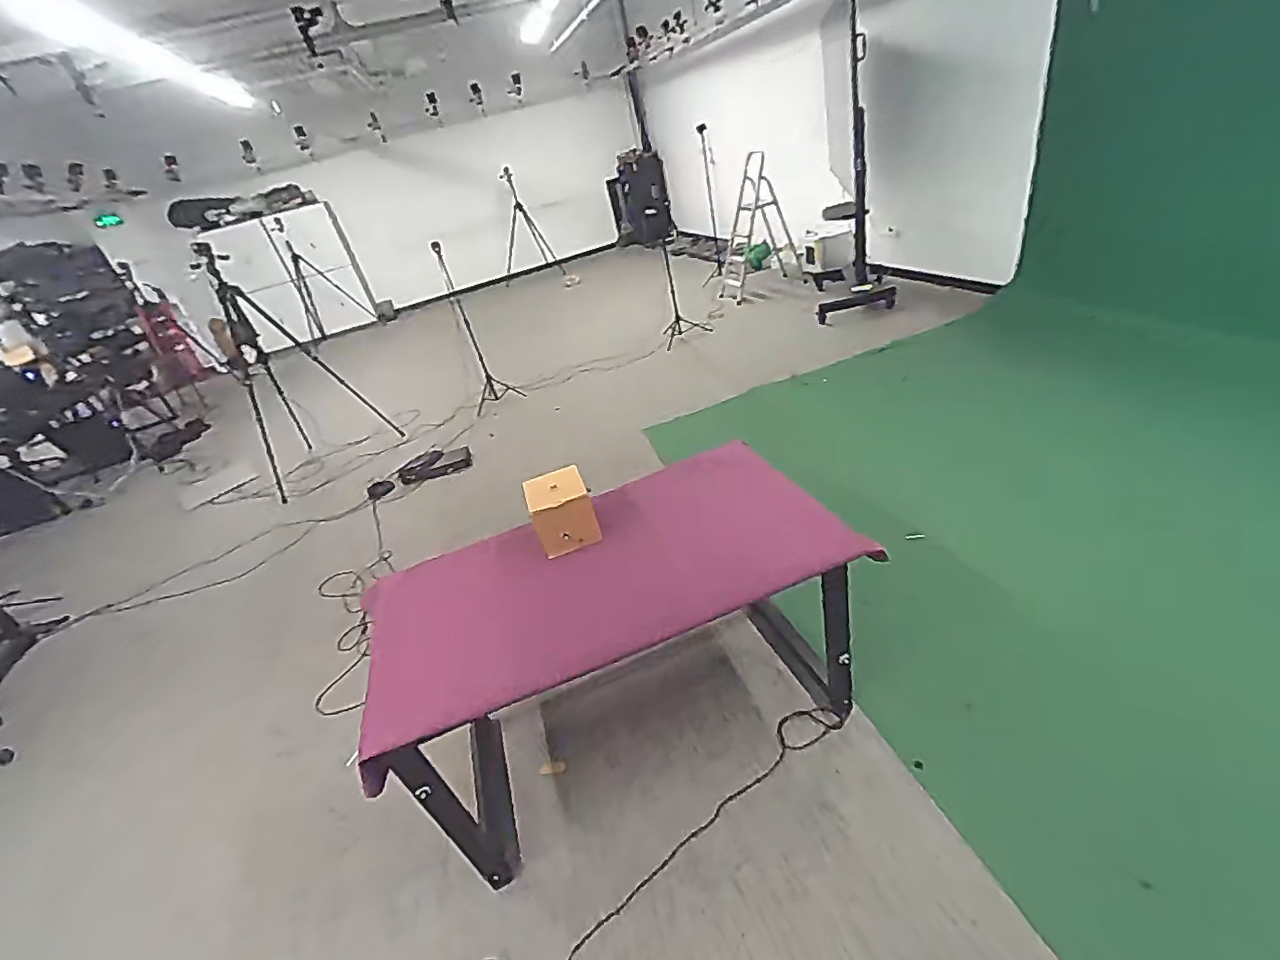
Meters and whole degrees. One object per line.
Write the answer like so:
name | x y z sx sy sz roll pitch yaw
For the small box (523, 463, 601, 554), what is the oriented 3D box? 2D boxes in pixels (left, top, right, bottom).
small box | -0.223 0.080 1.547 0.168 0.176 0.179 -19 34 -8
